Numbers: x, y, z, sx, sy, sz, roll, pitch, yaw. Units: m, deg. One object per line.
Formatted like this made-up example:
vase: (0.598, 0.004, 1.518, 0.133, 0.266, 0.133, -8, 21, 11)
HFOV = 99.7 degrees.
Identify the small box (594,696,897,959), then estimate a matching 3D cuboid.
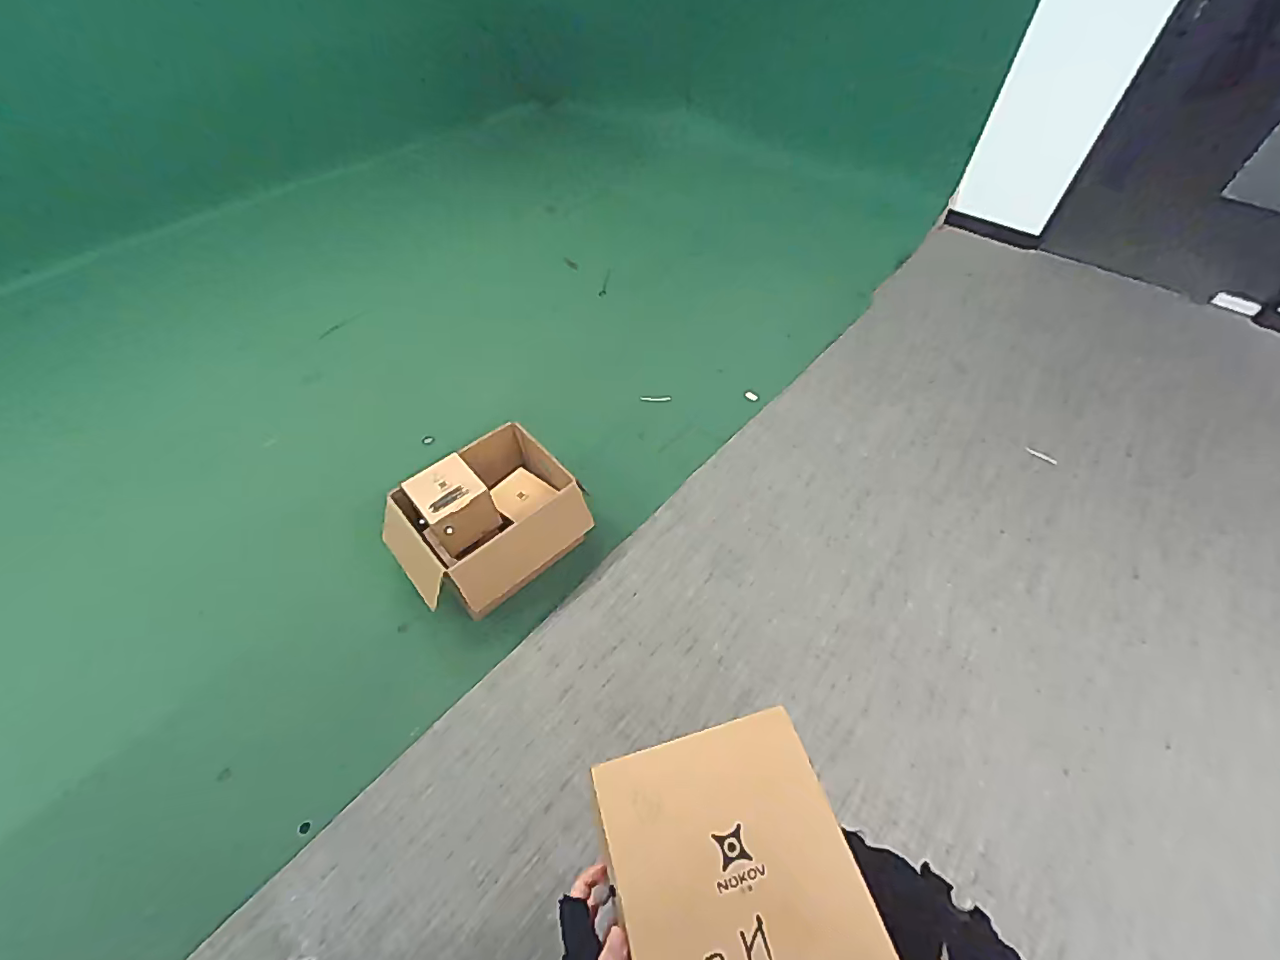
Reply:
small box: (0.059, 0.306, 0.440, 0.168, 0.176, 0.179, -11, 53, -13)
